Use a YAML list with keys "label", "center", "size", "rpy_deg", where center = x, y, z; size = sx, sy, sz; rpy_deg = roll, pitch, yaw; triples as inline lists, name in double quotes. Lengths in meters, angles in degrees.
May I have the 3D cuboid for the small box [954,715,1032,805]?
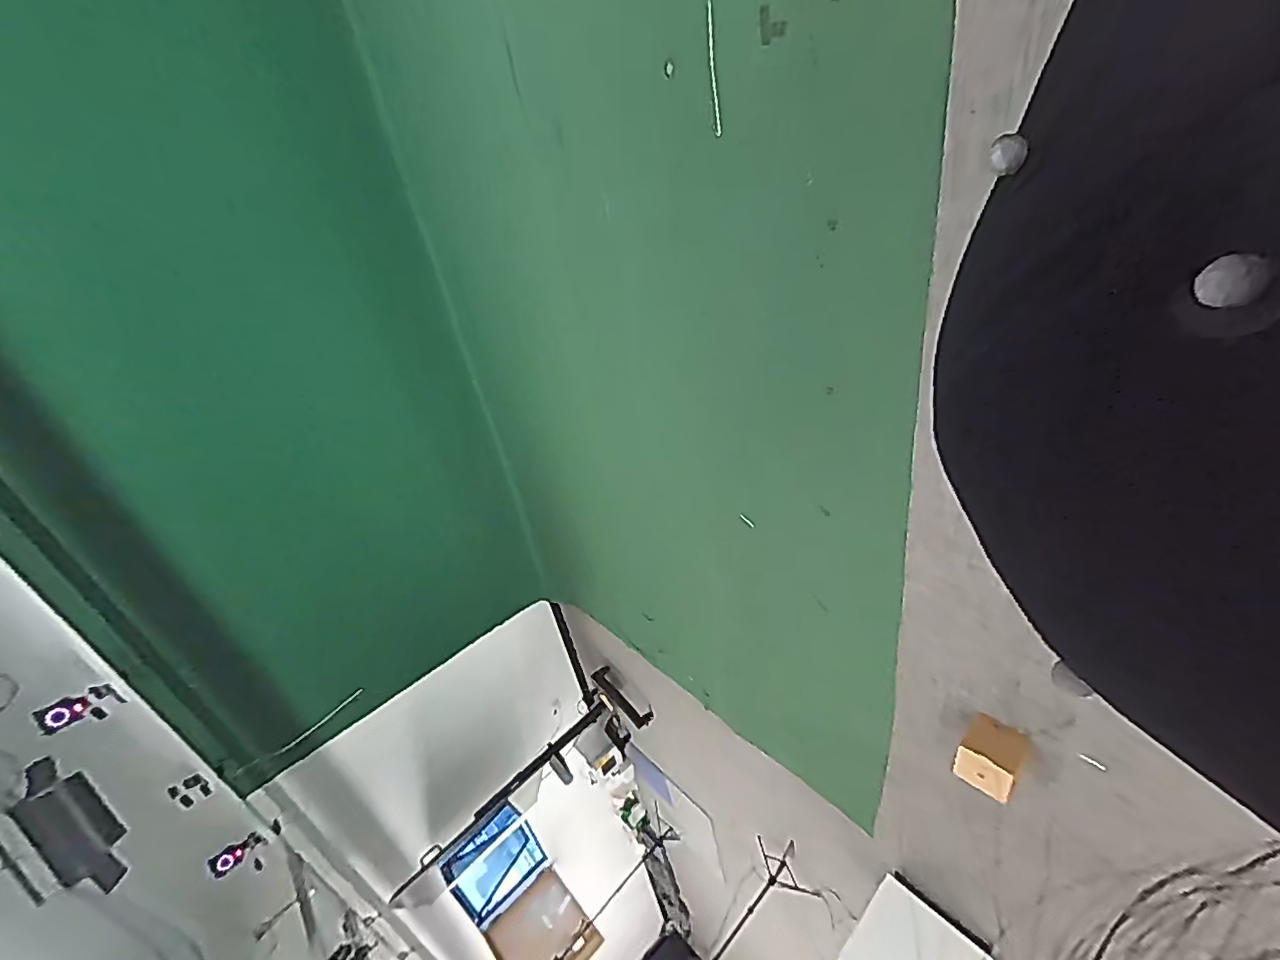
- label: "small box"
  center: [1.212, 0.955, 1.857]
  size: [0.168, 0.176, 0.179]
  rpy_deg: [24, 134, 44]
